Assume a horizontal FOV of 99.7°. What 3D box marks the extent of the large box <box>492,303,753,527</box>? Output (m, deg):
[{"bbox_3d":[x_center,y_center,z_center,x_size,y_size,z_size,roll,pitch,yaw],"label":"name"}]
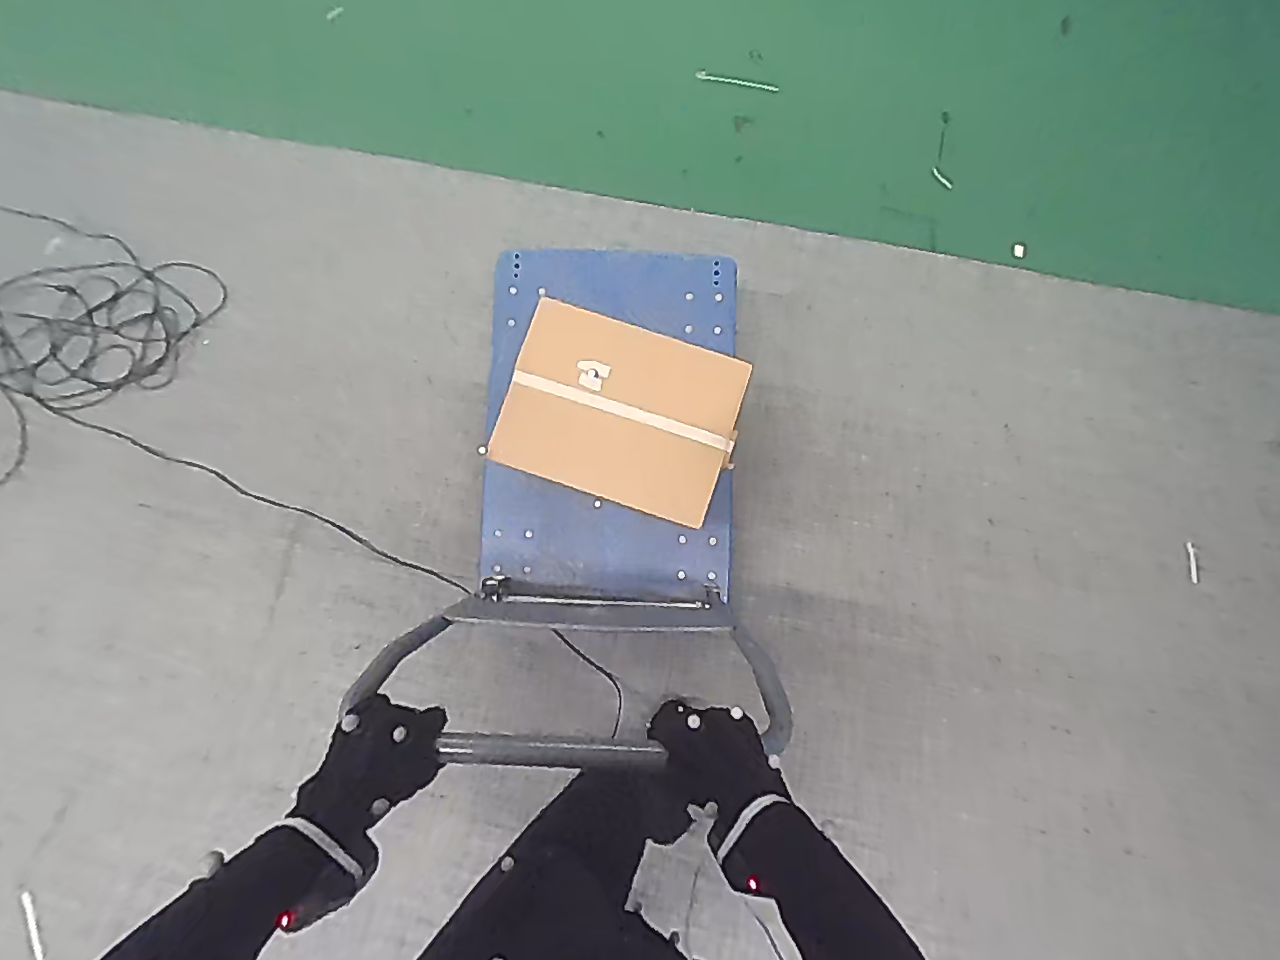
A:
[{"bbox_3d":[-0.025,-0.110,1.106,0.408,0.320,0.320,18,86,3],"label":"large box"}]
